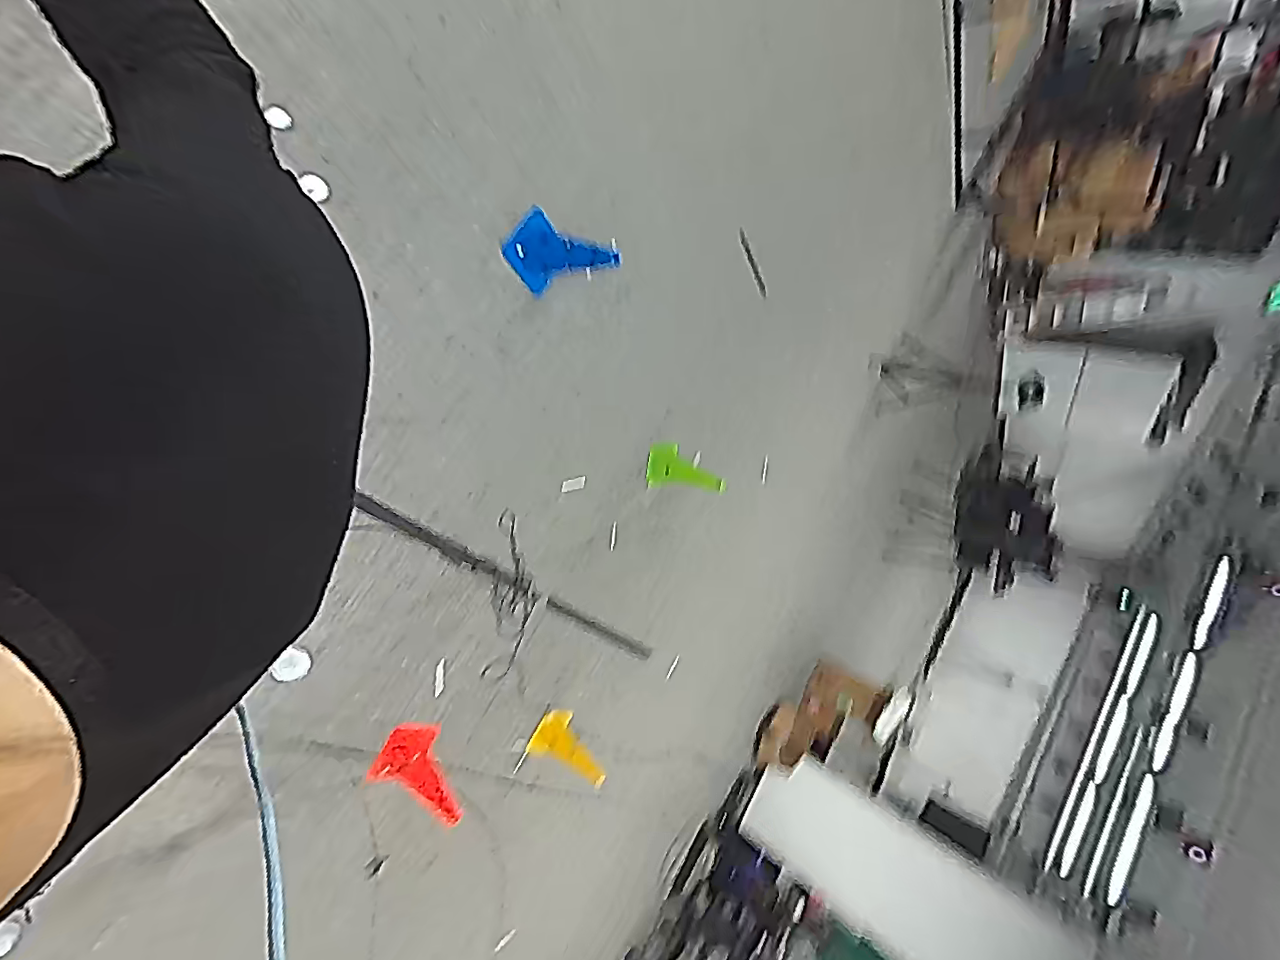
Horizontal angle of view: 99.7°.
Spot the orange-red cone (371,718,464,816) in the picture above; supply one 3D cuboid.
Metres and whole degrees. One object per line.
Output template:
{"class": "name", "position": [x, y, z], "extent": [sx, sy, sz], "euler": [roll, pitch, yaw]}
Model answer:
{"class": "orange-red cone", "position": [-0.705, 0.997, 1.827], "extent": [0.198, 0.360, 0.199], "euler": [-60, 143, -9]}

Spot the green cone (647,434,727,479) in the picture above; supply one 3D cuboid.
{"class": "green cone", "position": [0.231, -0.066, 2.424], "extent": [0.200, 0.368, 0.202], "euler": [-13, 116, -47]}

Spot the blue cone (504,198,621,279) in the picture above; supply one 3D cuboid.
{"class": "blue cone", "position": [-0.209, -0.708, 1.602], "extent": [0.192, 0.380, 0.193], "euler": [-58, 142, -14]}
